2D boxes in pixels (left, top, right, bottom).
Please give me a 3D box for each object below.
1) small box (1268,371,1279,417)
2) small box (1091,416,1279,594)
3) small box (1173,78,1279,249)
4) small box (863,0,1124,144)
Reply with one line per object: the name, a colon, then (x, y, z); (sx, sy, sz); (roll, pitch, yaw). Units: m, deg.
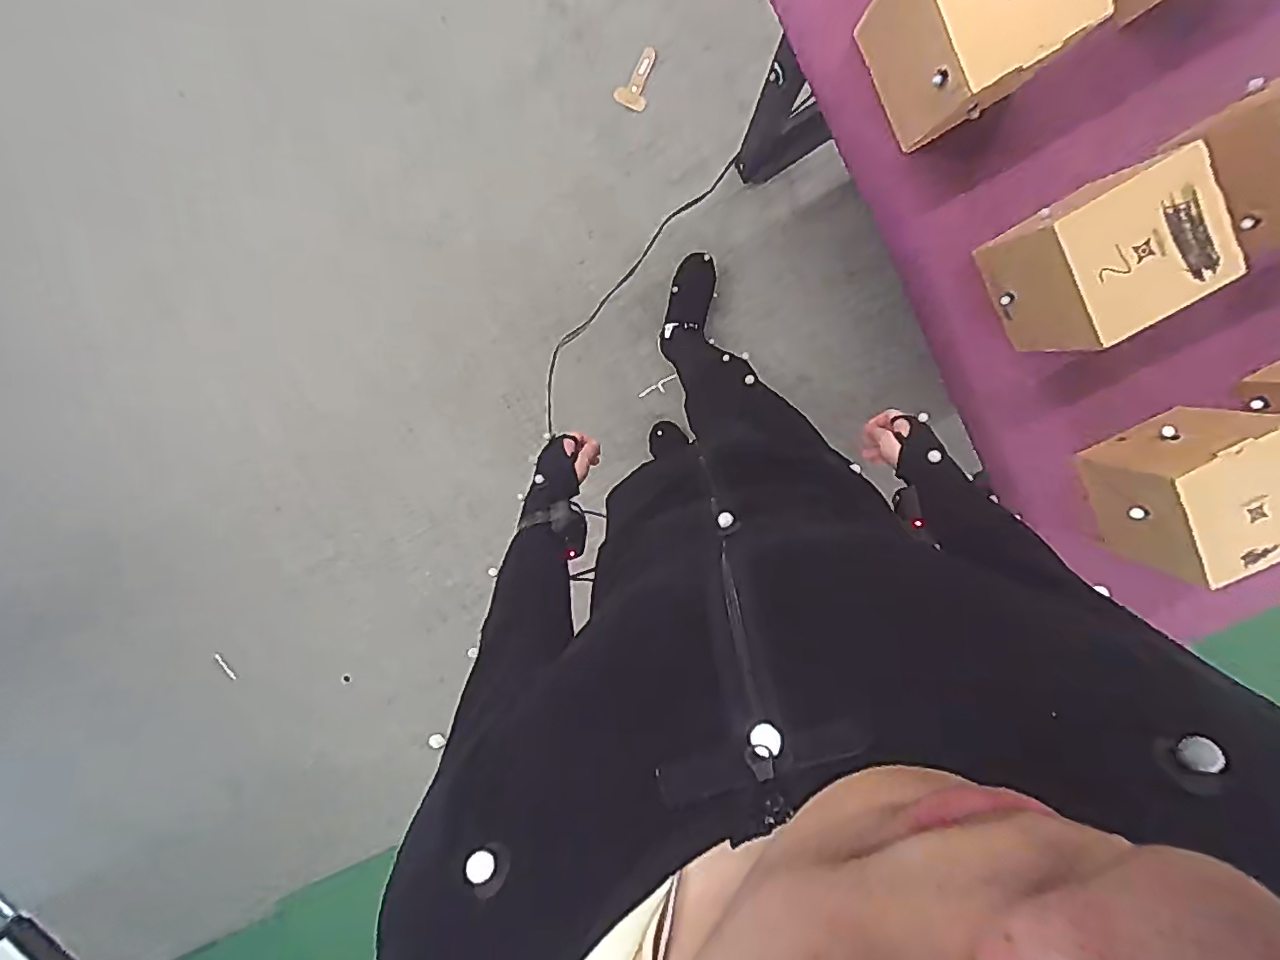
small box: (0.998, -0.096, 0.704); (0.179, 0.176, 0.168); (-29, 99, 9)
small box: (0.779, 0.021, 0.742); (0.168, 0.176, 0.179); (-27, 99, 8)
small box: (0.817, -0.401, 0.647); (0.168, 0.176, 0.179); (-31, 99, 9)
small box: (0.394, -0.546, 0.636); (0.168, 0.176, 0.179); (-29, 100, 8)
